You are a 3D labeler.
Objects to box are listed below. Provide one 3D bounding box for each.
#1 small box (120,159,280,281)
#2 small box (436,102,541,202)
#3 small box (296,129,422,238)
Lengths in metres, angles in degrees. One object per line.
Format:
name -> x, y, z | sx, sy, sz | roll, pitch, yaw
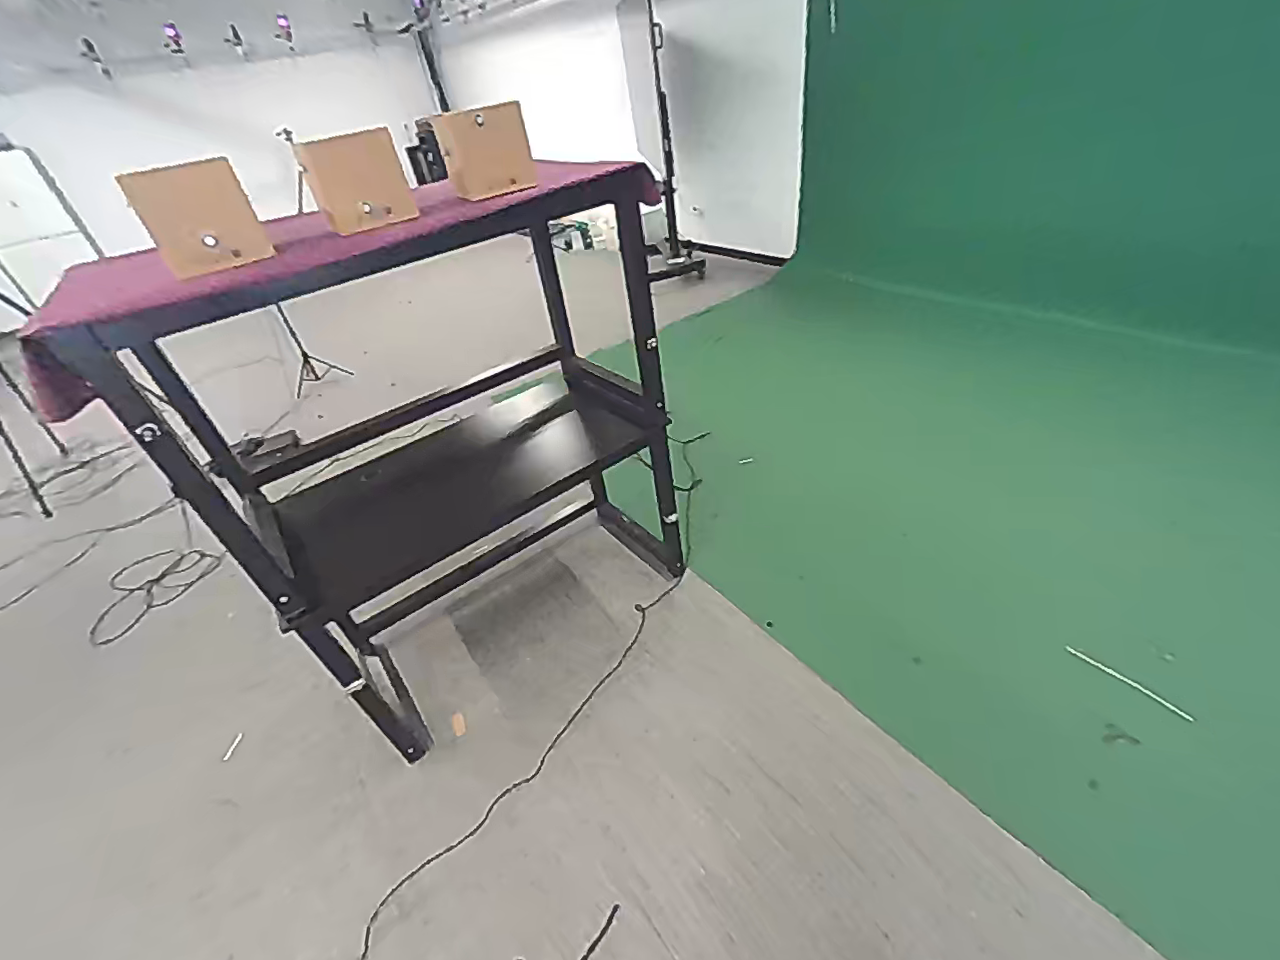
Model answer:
small box -> -0.802, -0.480, 0.997 | 0.168, 0.176, 0.179 | -31, 42, -25
small box -> -0.349, -0.752, 1.249 | 0.168, 0.176, 0.179 | -25, 38, -17
small box -> -0.585, -0.619, 1.132 | 0.168, 0.176, 0.179 | -29, 41, -22
